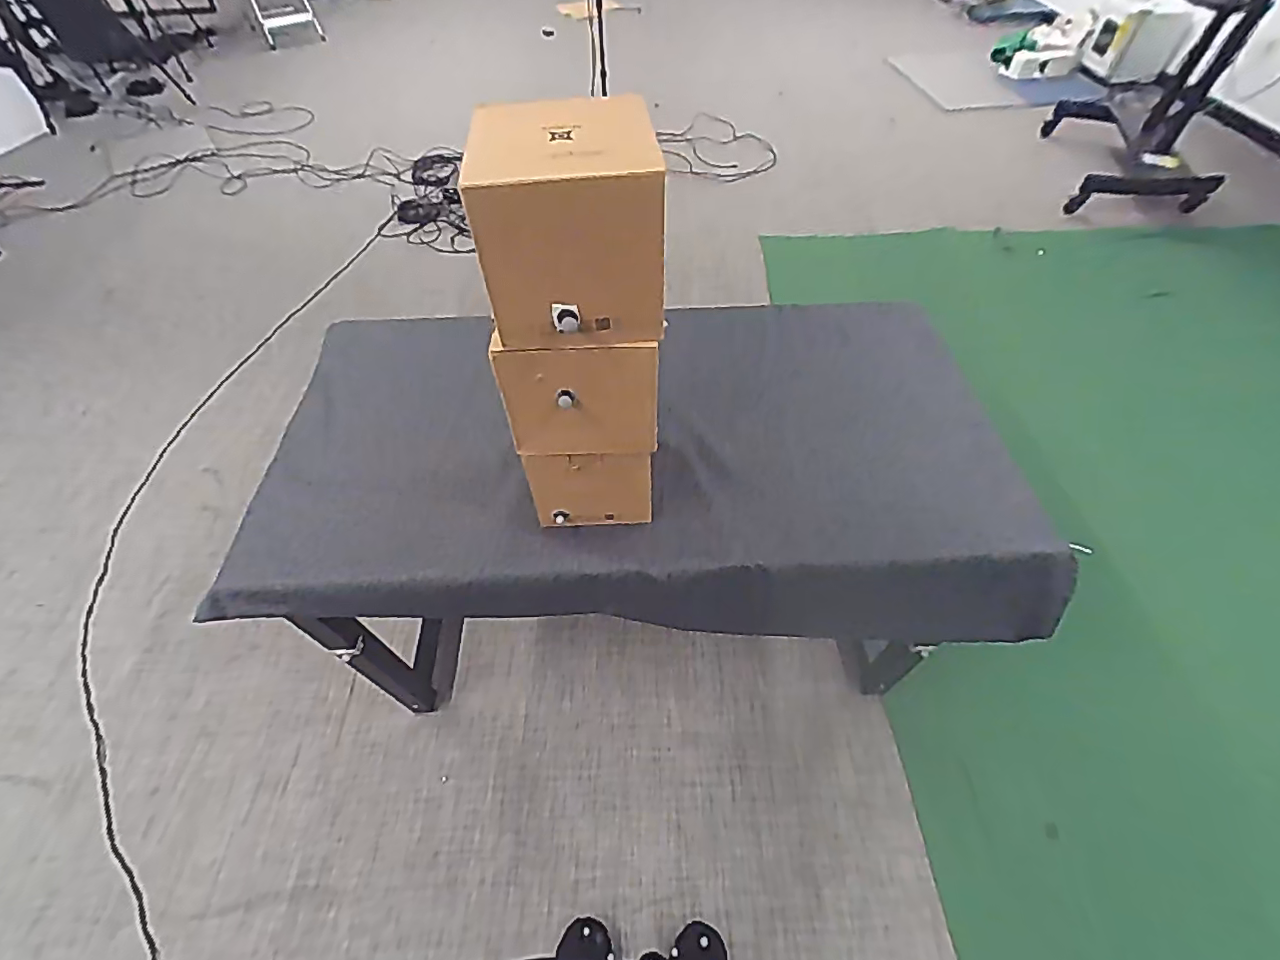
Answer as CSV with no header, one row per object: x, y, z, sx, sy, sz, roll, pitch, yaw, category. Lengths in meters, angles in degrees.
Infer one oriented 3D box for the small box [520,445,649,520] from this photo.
-0.073,-0.051,0.805,0.168,0.176,0.179,-2,51,0,small box

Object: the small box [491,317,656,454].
-0.073,-0.146,0.675,0.179,0.176,0.168,-3,50,-3,small box

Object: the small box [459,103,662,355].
-0.071,-0.251,0.547,0.168,0.176,0.179,-7,53,-3,small box
